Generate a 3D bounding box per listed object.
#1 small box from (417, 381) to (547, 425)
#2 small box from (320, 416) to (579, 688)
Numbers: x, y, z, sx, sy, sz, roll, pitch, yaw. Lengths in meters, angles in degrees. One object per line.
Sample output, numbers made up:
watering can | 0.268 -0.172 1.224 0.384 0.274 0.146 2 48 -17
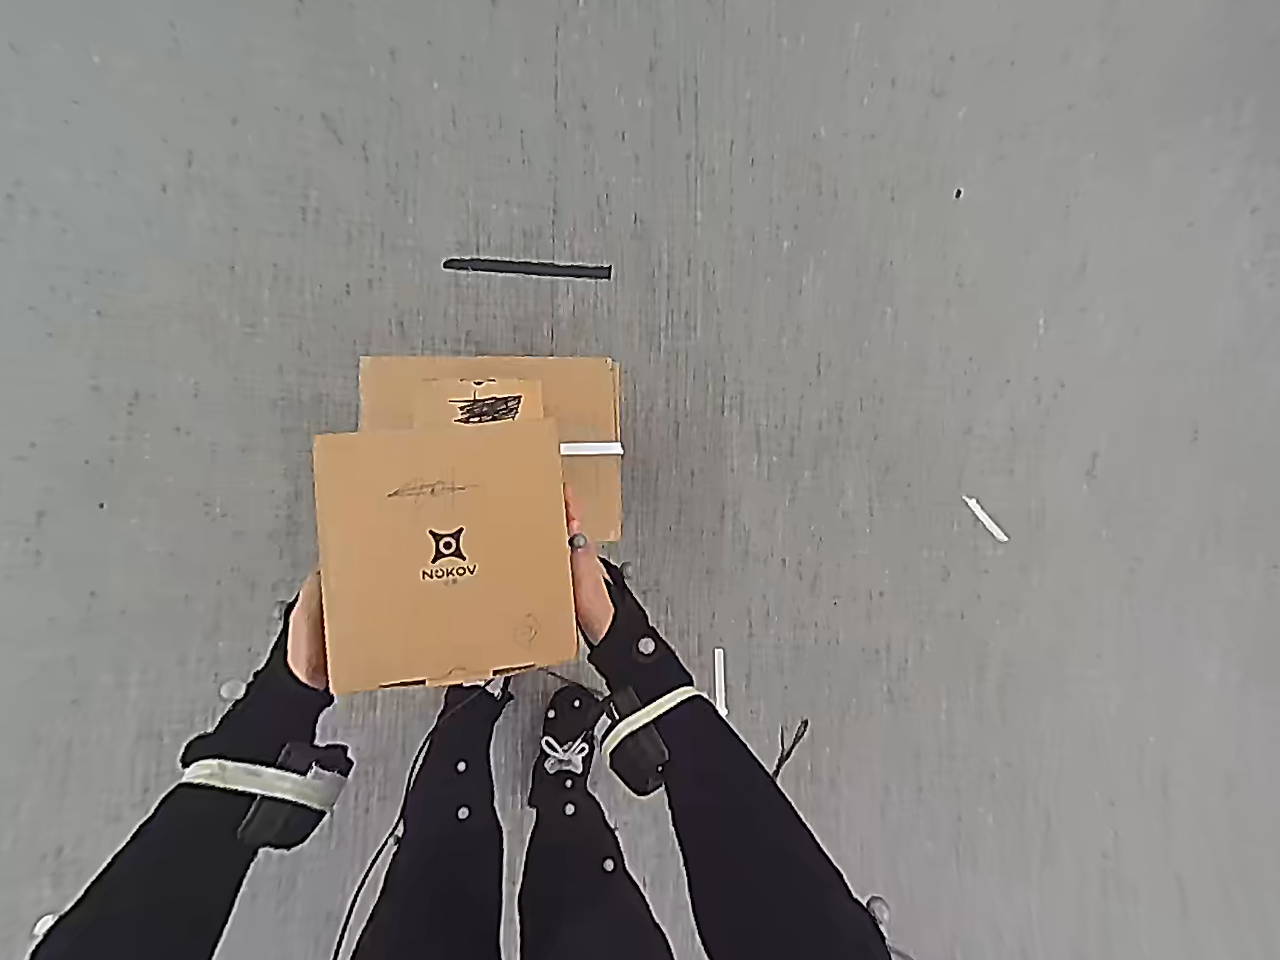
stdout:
small box | -0.217 -0.038 0.779 0.168 0.176 0.179 -2 88 -10
small box | -0.141 0.051 0.453 0.168 0.176 0.179 -6 87 -10
